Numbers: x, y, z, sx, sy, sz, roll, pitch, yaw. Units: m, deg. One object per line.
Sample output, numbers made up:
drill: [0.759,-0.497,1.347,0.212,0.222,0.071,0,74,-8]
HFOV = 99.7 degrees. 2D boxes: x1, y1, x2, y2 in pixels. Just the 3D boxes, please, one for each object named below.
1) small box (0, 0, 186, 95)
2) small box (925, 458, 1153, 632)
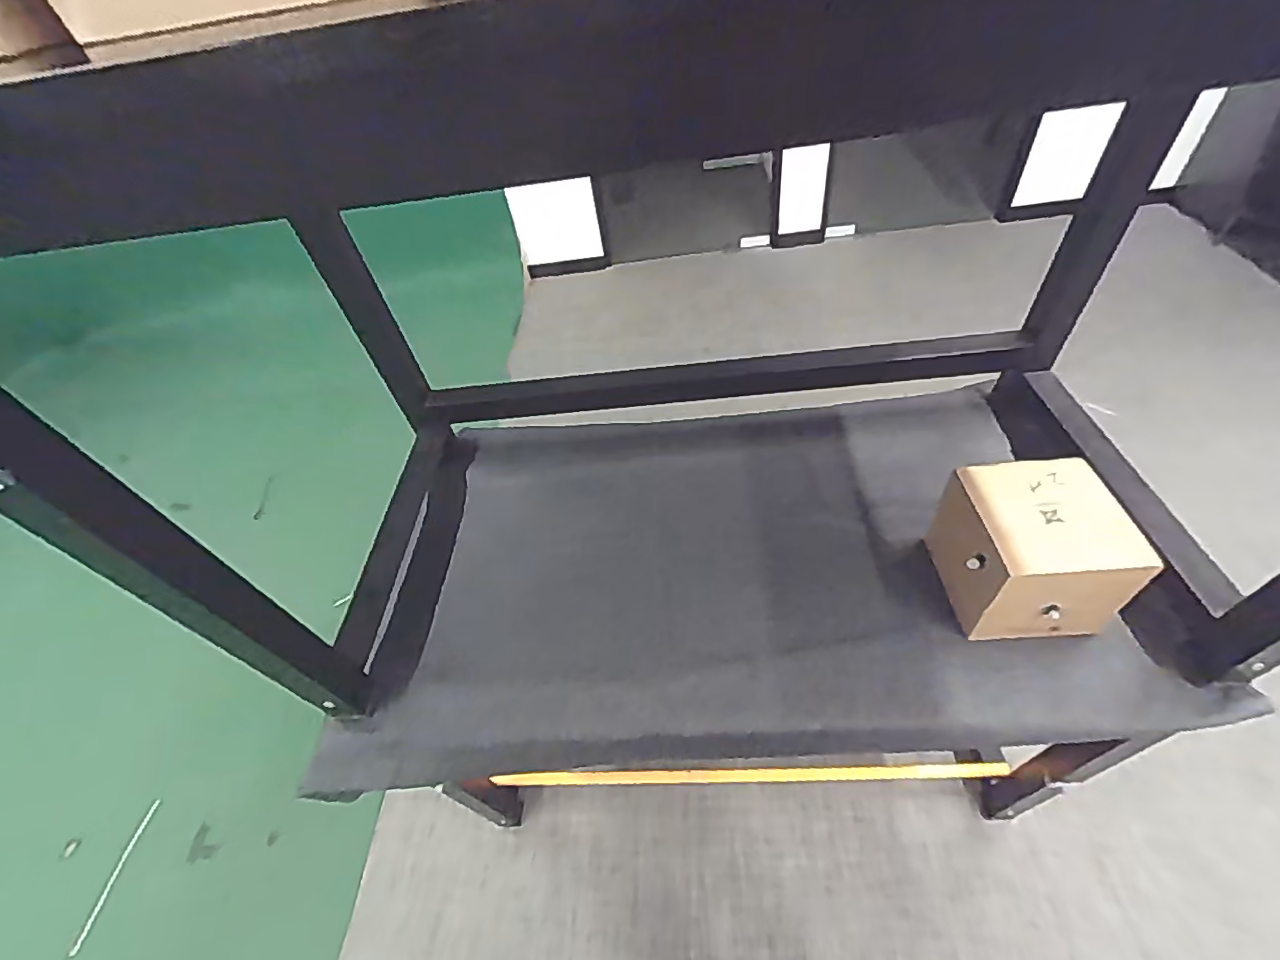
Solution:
small box: [-0.385,-0.304,0.264,0.168,0.176,0.179,-5,49,5]
small box: [0.516,0.095,0.735,0.168,0.176,0.179,-5,47,6]
